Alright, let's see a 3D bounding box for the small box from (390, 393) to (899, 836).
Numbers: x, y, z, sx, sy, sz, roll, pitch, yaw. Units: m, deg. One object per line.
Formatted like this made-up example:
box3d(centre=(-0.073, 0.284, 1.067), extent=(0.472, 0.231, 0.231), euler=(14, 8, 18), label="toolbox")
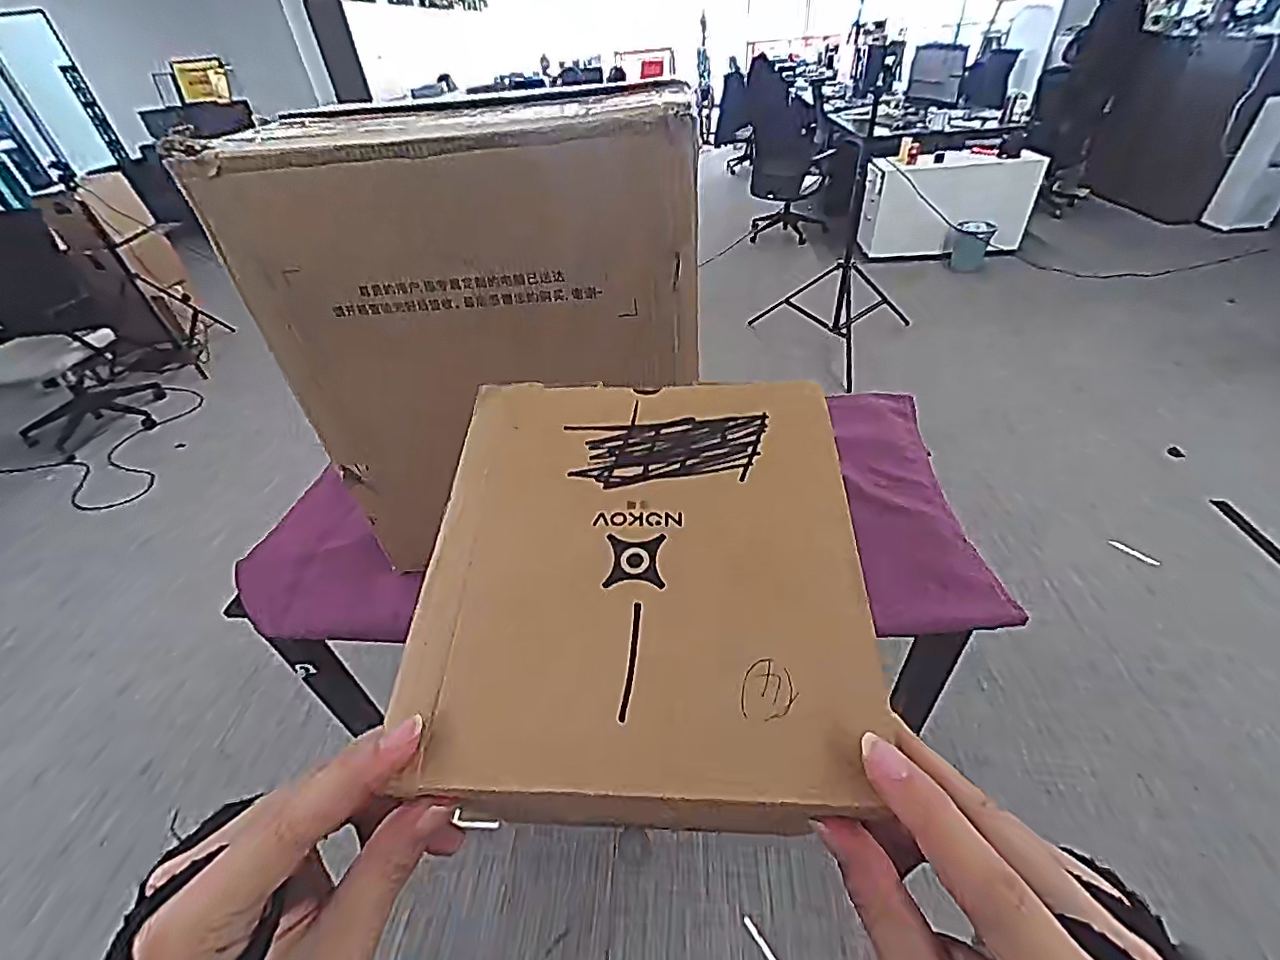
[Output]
box3d(centre=(0.007, 0.074, 0.283), extent=(0.168, 0.176, 0.179), euler=(0, 55, 5), label="small box")
